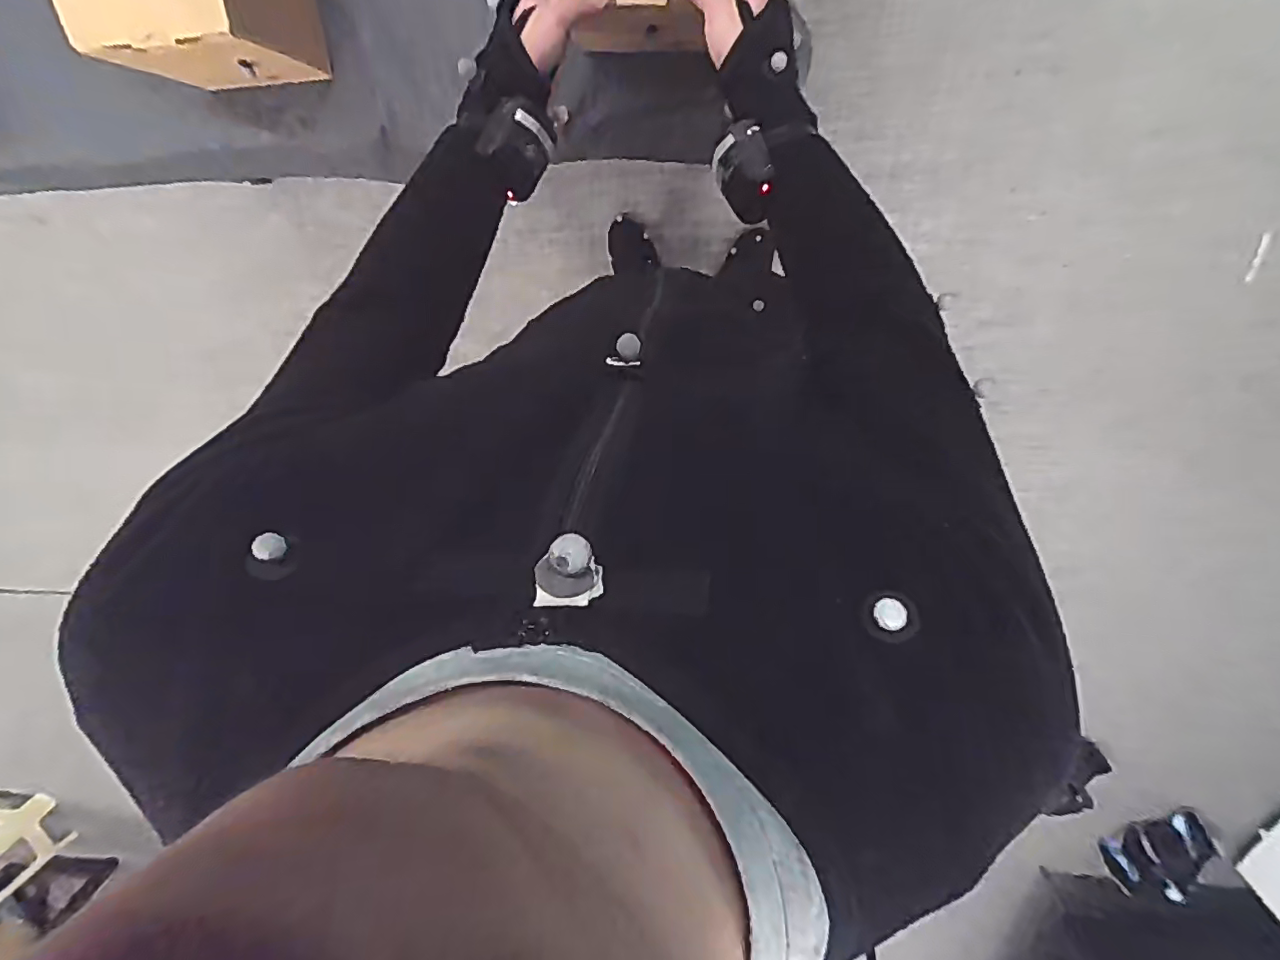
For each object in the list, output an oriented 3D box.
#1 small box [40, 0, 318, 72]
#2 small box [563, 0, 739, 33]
[{"bbox_3d":[-0.455,-0.522,0.526,0.168,0.176,0.179,-2,114,4],"label":"small box"},{"bbox_3d":[0.012,-0.522,0.477,0.168,0.176,0.179,4,116,6],"label":"small box"}]
